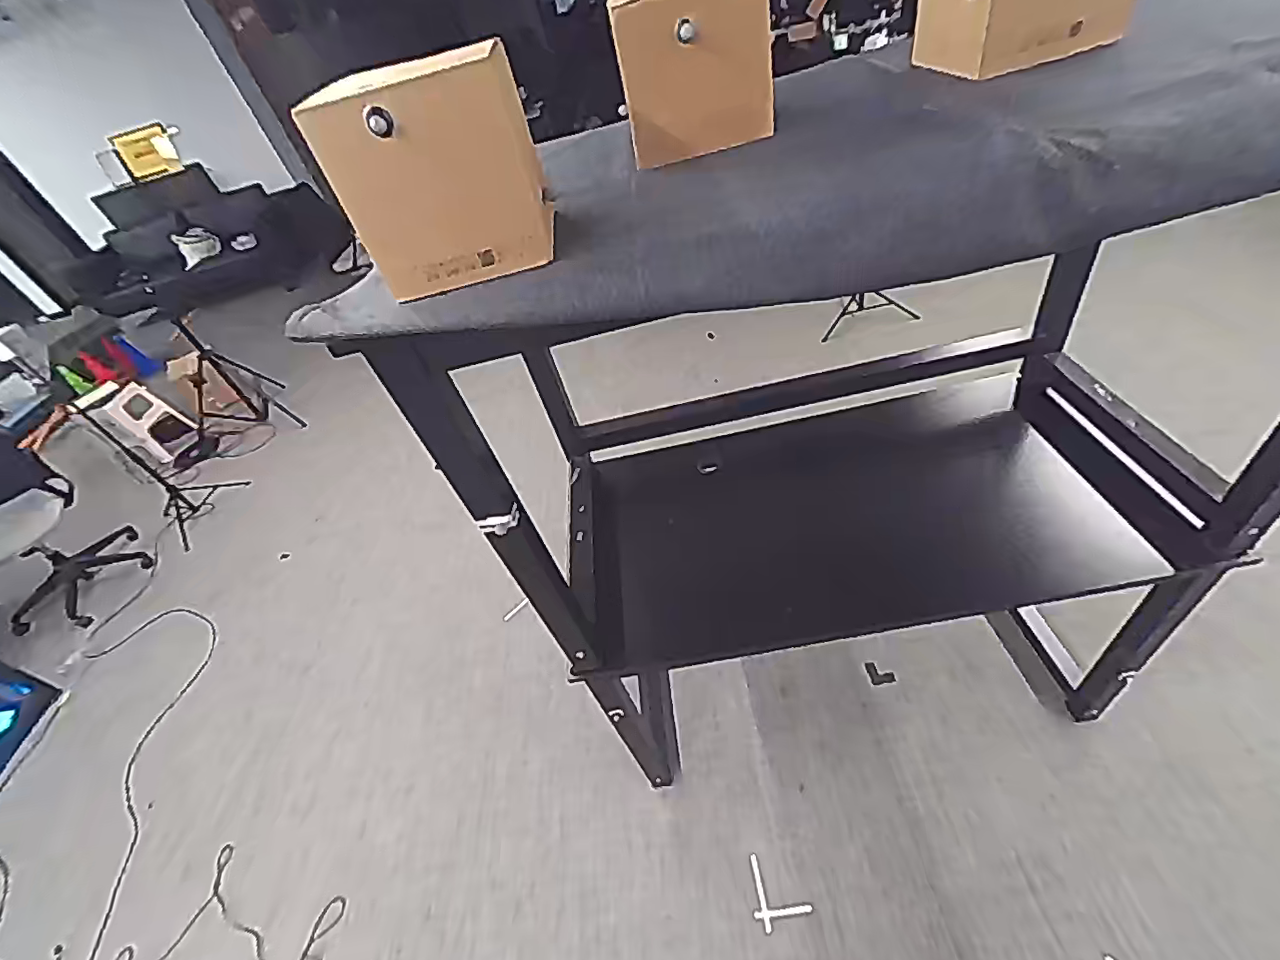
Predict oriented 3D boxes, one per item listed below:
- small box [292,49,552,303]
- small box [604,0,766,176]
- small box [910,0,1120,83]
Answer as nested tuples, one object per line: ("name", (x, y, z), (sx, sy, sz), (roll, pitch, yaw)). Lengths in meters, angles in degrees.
("small box", (-0.193, -0.302, 0.541), (0.168, 0.176, 0.179), (-14, 42, 3))
("small box", (0.059, -0.517, 0.687), (0.179, 0.176, 0.168), (-12, 44, 7))
("small box", (0.449, -0.602, 0.647), (0.168, 0.176, 0.179), (-13, 44, 4))
